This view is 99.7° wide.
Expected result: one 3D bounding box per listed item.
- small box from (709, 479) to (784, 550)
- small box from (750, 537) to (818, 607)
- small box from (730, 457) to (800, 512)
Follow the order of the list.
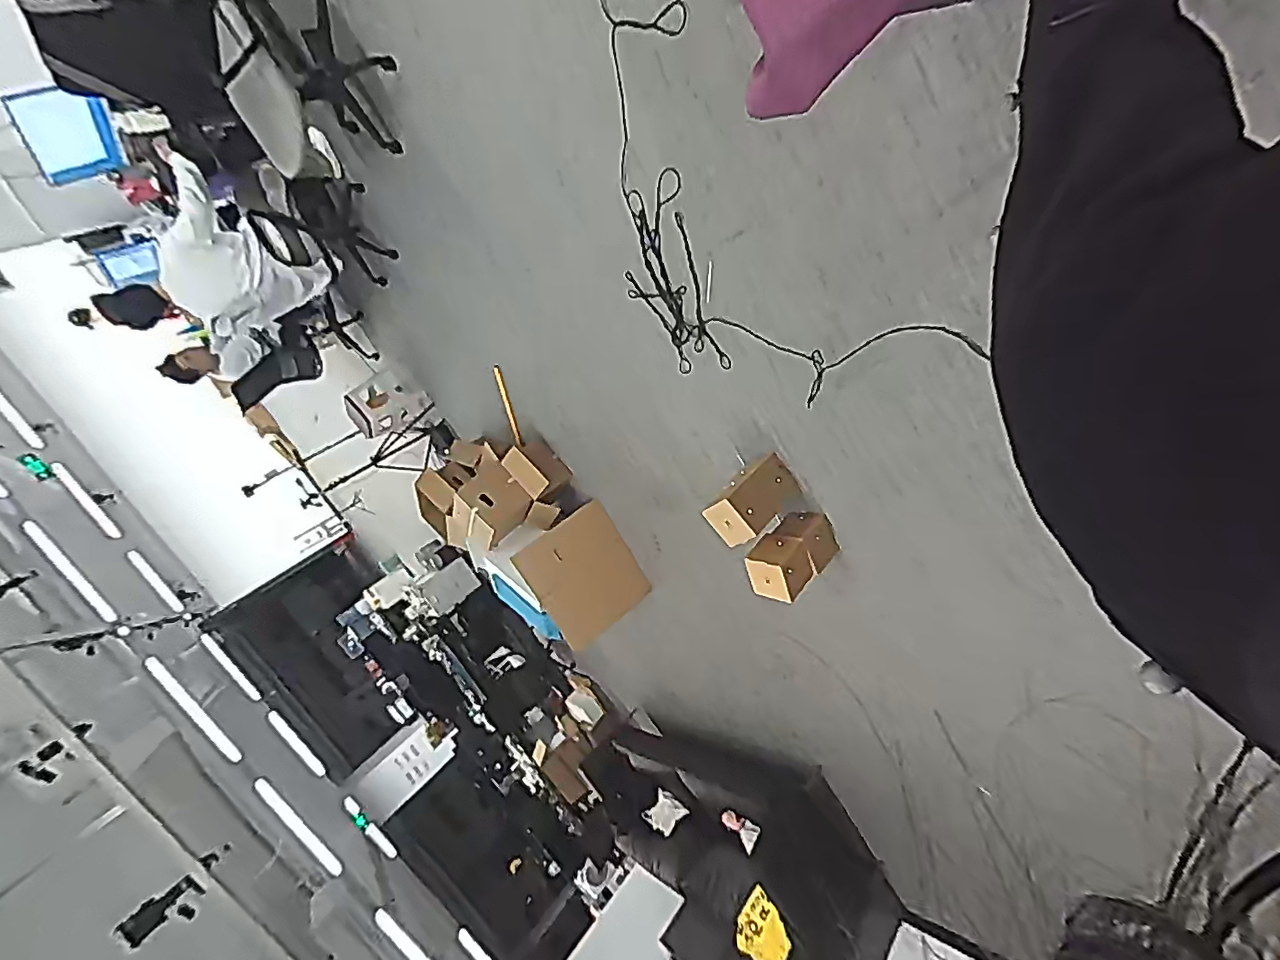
[{"bbox_3d":[0.394,0.125,1.984,0.179,0.176,0.168,51,147,0],"label":"small box"},{"bbox_3d":[0.543,0.338,2.016,0.168,0.176,0.179,7,126,49],"label":"small box"},{"bbox_3d":[0.490,0.035,2.080,0.168,0.176,0.179,53,148,-4],"label":"small box"}]
